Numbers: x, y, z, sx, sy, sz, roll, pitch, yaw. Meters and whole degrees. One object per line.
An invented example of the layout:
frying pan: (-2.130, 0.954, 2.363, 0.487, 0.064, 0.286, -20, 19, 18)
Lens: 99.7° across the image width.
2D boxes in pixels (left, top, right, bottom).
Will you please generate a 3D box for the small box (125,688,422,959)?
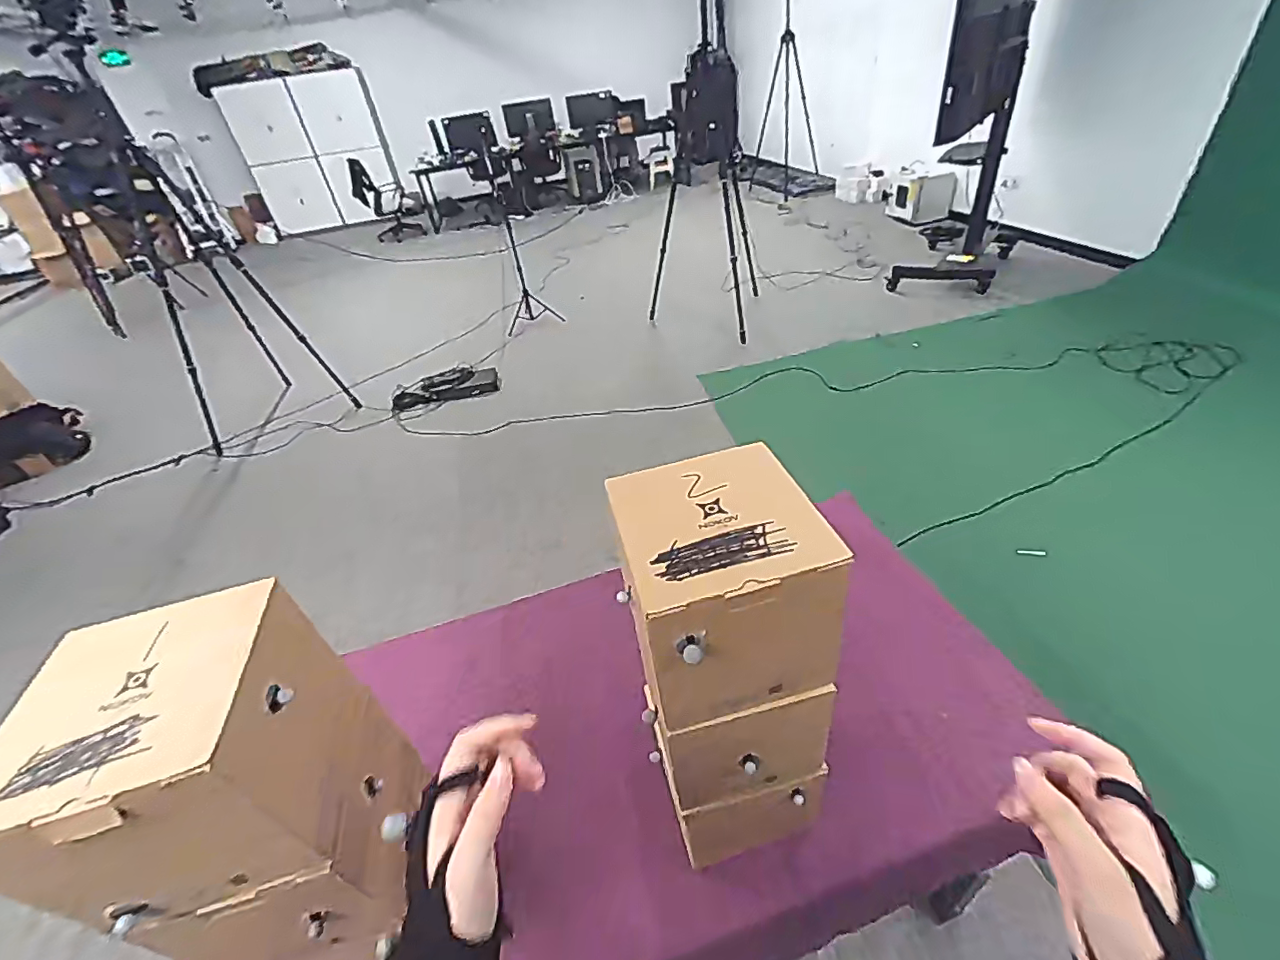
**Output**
small box: (-0.336, 0.351, 0.547, 0.168, 0.176, 0.179, -14, 37, -6)

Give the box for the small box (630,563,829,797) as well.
small box: (0.094, 0.228, 0.609, 0.168, 0.176, 0.179, -13, 37, -5)

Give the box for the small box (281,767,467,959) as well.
small box: (-0.314, 0.482, 0.642, 0.179, 0.176, 0.168, -15, 37, -7)

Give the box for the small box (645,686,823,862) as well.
small box: (0.117, 0.360, 0.705, 0.179, 0.176, 0.168, -14, 38, -6)

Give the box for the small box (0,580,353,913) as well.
small box: (-0.365, 0.221, 0.450, 0.168, 0.176, 0.179, -15, 37, -9)
